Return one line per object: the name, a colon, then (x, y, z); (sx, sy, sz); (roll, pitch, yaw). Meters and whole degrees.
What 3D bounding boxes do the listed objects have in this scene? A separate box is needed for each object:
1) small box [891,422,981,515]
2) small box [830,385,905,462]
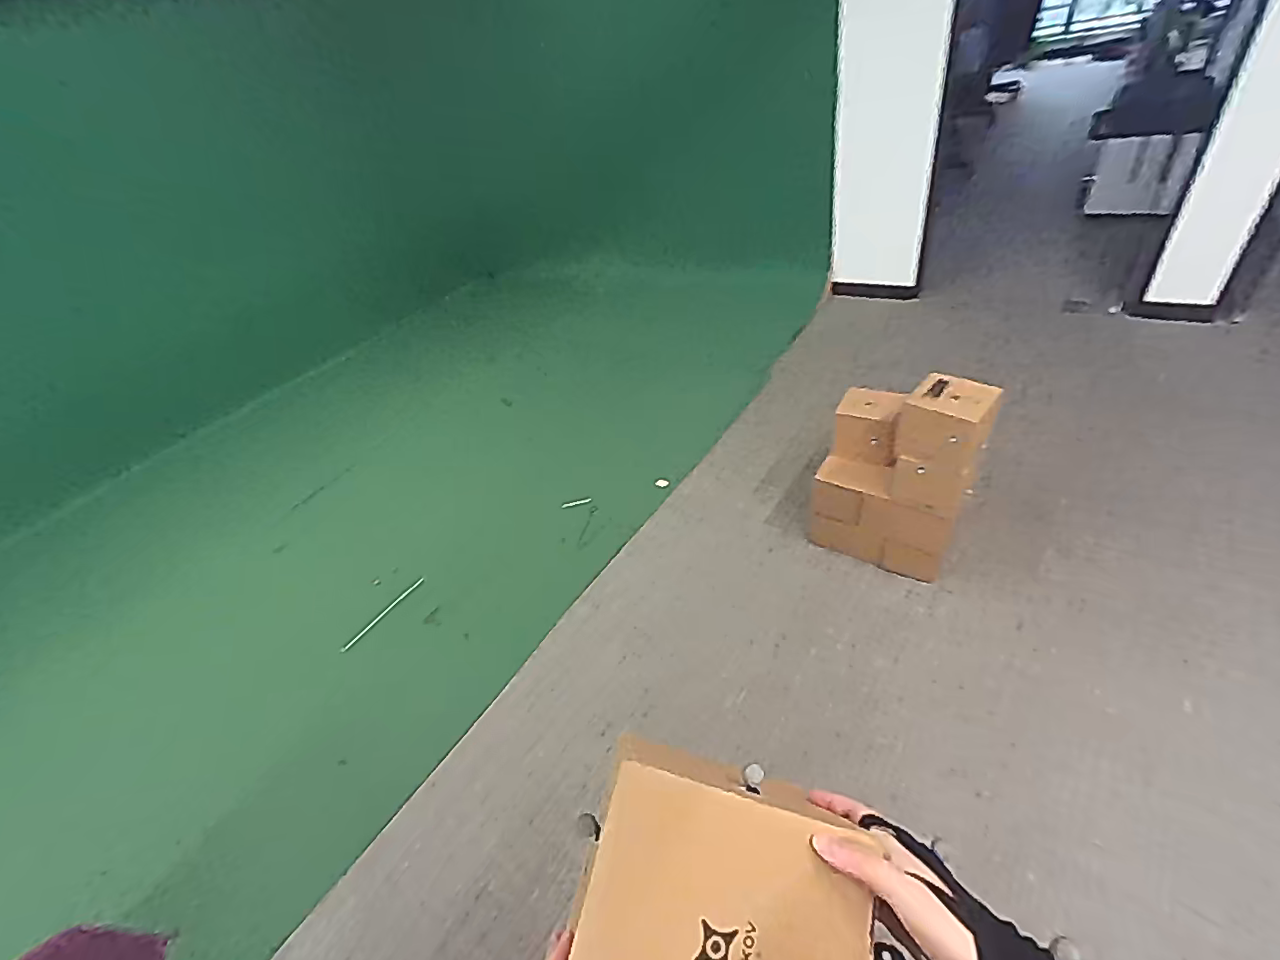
small box: (0.827, -0.033, 1.524); (0.168, 0.176, 0.179); (23, 51, 35)
small box: (0.724, -0.179, 1.728); (0.179, 0.176, 0.168); (17, 47, 32)
